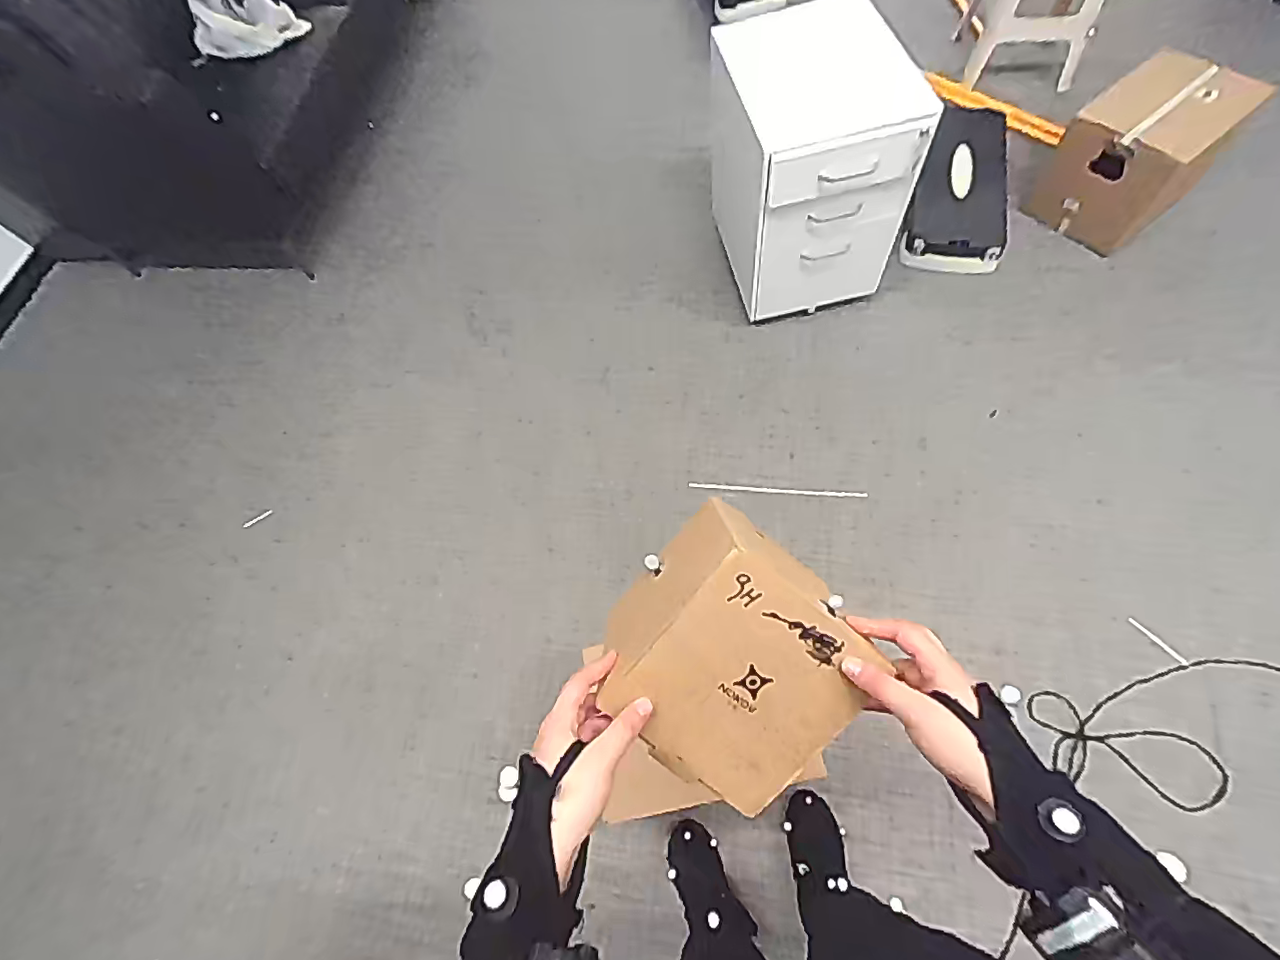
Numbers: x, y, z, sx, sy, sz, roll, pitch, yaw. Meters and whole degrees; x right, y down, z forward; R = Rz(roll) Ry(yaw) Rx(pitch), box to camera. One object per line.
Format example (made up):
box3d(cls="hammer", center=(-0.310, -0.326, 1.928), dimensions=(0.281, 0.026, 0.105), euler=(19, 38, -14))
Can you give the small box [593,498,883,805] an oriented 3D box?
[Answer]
box3d(cls="small box", center=(0.080, 0.143, 0.508), dimensions=(0.168, 0.176, 0.179), euler=(39, 100, -7))
